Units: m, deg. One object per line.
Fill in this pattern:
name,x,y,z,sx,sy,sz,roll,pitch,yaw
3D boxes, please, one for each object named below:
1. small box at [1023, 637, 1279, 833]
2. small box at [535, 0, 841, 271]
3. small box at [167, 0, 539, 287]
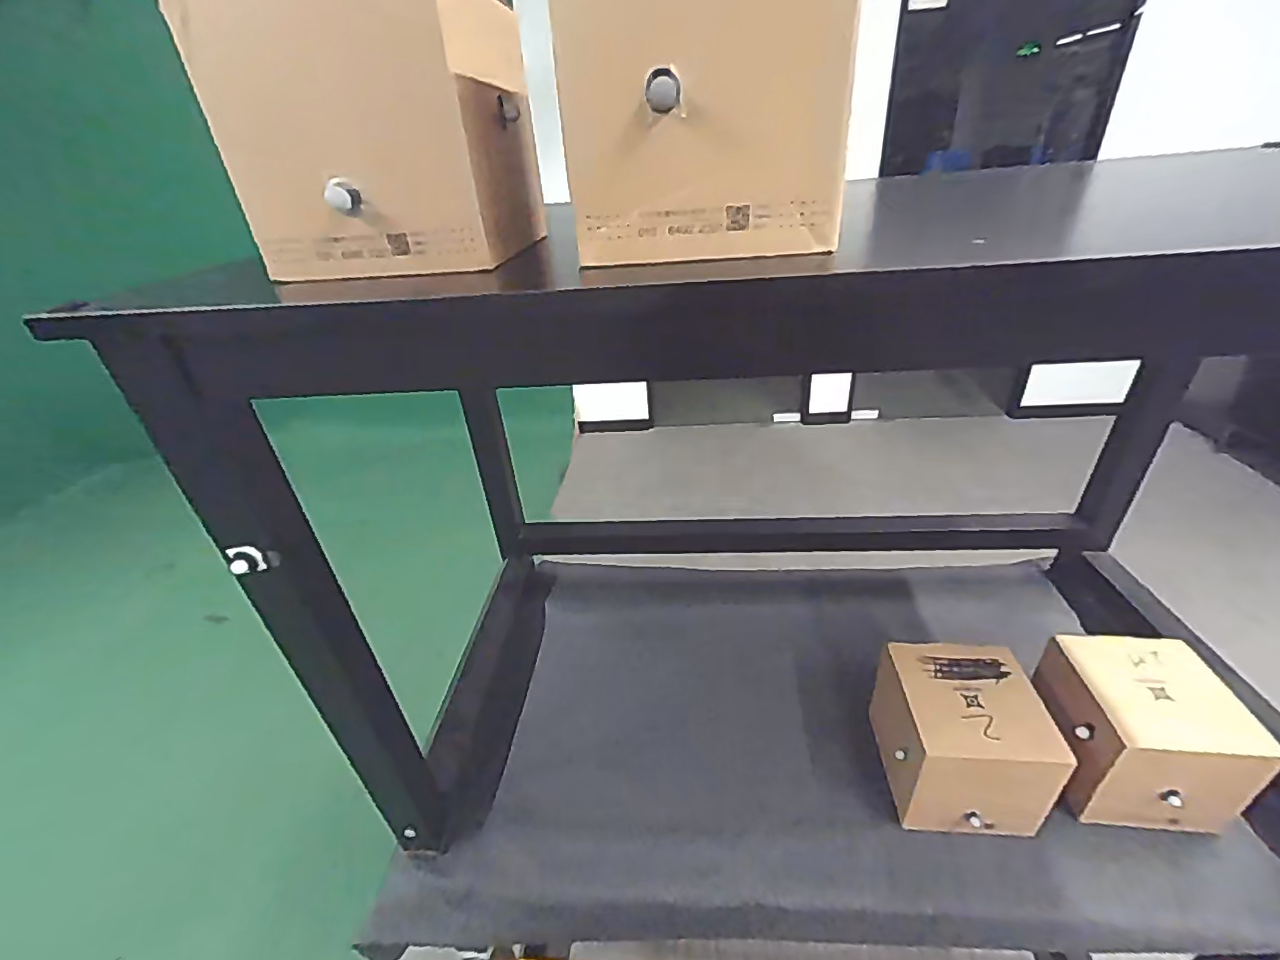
small box,0.657,0.337,0.725,0.168,0.176,0.179,0,31,9
small box,0.039,-0.249,0.381,0.168,0.176,0.179,-1,31,7
small box,-0.184,-0.253,0.417,0.168,0.176,0.179,-1,32,7
